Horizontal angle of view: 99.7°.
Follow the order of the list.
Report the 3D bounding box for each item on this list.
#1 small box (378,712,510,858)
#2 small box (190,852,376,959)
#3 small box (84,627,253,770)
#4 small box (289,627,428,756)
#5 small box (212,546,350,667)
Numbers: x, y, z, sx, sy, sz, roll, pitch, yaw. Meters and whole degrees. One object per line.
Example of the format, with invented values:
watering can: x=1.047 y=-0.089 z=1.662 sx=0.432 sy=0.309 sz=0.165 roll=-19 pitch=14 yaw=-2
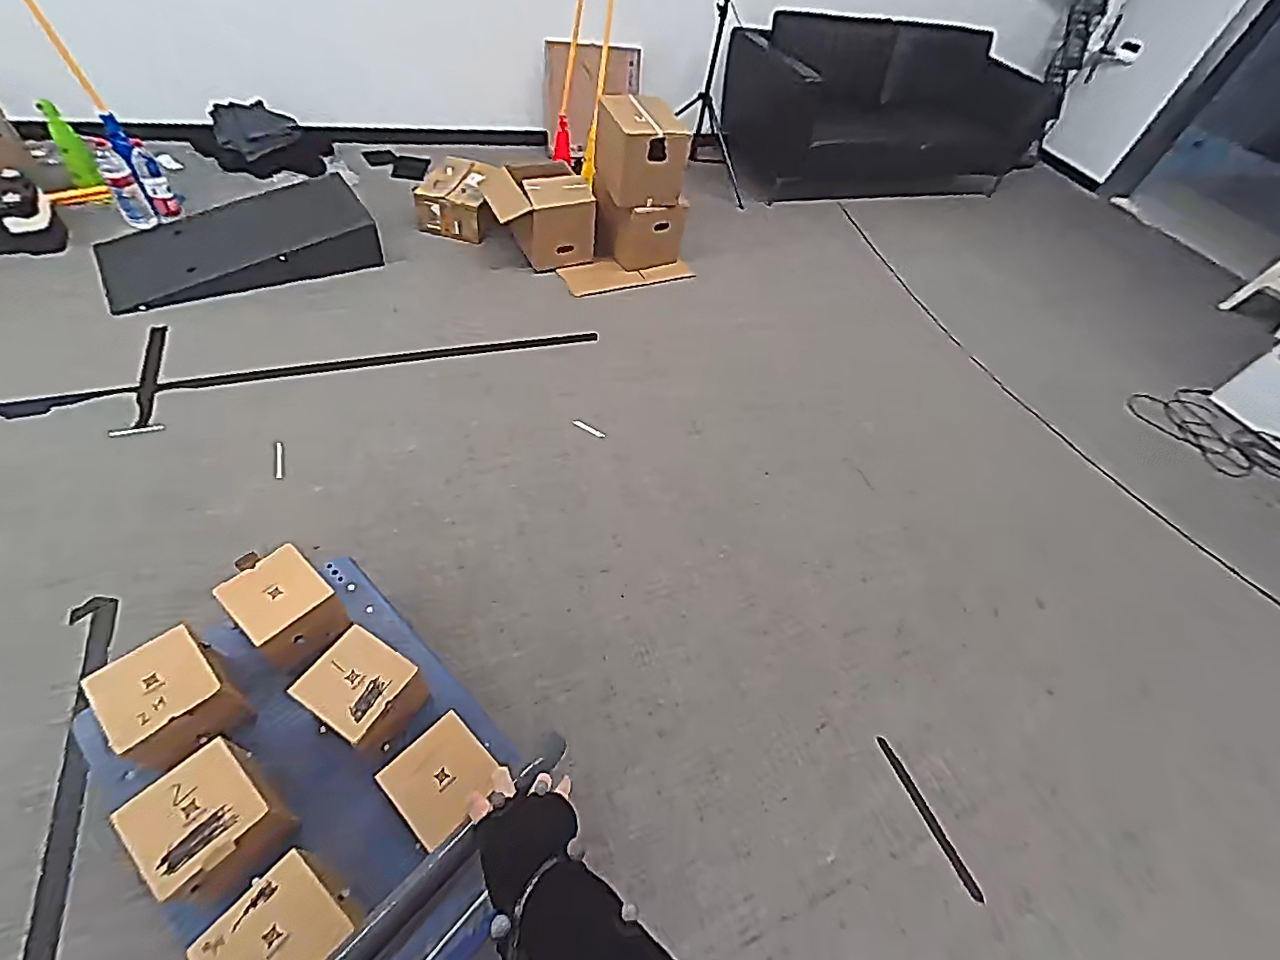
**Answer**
small box: x=-0.367 y=0.591 z=1.042 sx=0.179 sy=0.176 sz=0.168 roll=39 pitch=54 yaw=19
small box: x=-0.559 y=0.745 z=0.874 sx=0.179 sy=0.176 sz=0.168 roll=37 pitch=53 yaw=16
small box: x=-0.901 y=0.426 z=1.048 sx=0.179 sy=0.176 sz=0.168 roll=42 pitch=55 yaw=19
small box: x=-0.565 y=0.441 z=1.114 sx=0.179 sy=0.176 sz=0.168 roll=29 pitch=52 yaw=11
small box: x=-0.776 y=0.286 z=1.189 sx=0.179 sy=0.176 sz=0.168 roll=37 pitch=54 yaw=16
